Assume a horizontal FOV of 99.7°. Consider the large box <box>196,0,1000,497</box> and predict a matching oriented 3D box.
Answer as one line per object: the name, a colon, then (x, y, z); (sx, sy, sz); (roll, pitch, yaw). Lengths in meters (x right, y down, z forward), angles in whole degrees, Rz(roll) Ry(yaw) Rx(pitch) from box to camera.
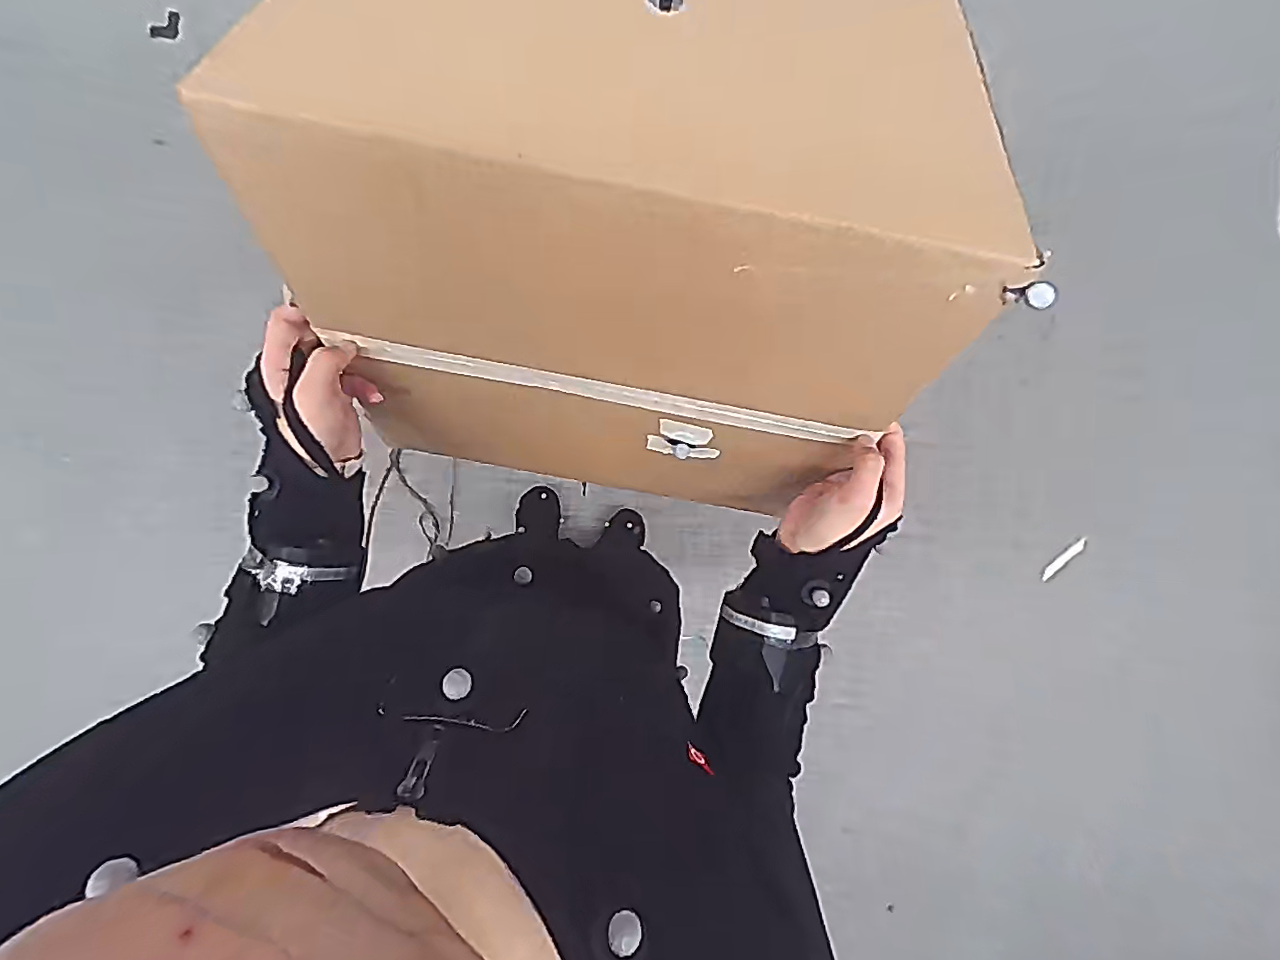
large box: (-0.017, -0.210, 0.460); (0.408, 0.320, 0.320); (8, 64, -3)
